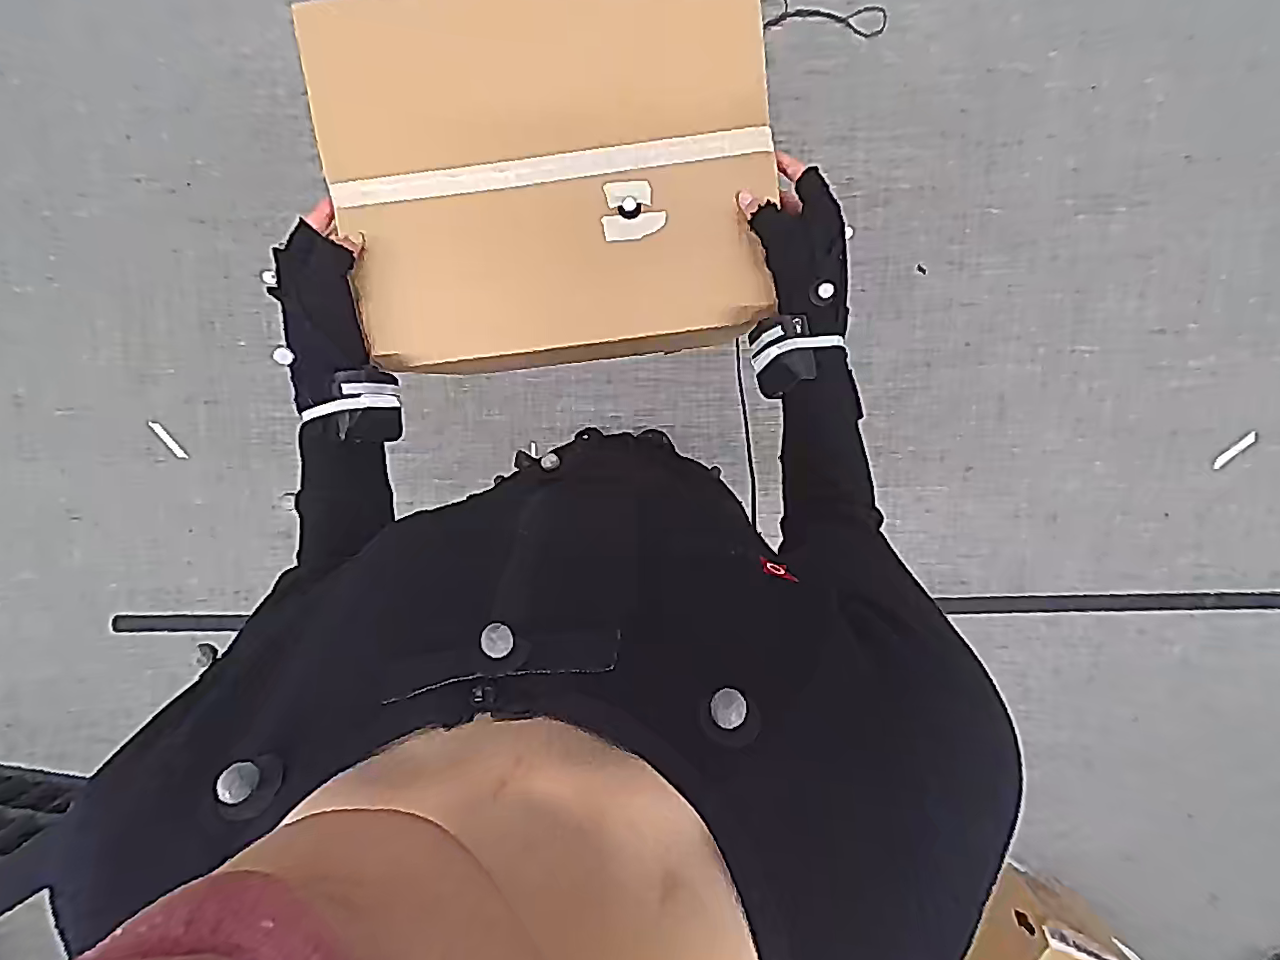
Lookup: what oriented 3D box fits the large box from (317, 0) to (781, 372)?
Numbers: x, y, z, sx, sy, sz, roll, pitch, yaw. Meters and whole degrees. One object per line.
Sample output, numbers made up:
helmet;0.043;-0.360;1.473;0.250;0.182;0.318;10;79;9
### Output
large box;-0.081;-0.316;0.654;0.408;0.320;0.320;-7;100;0
